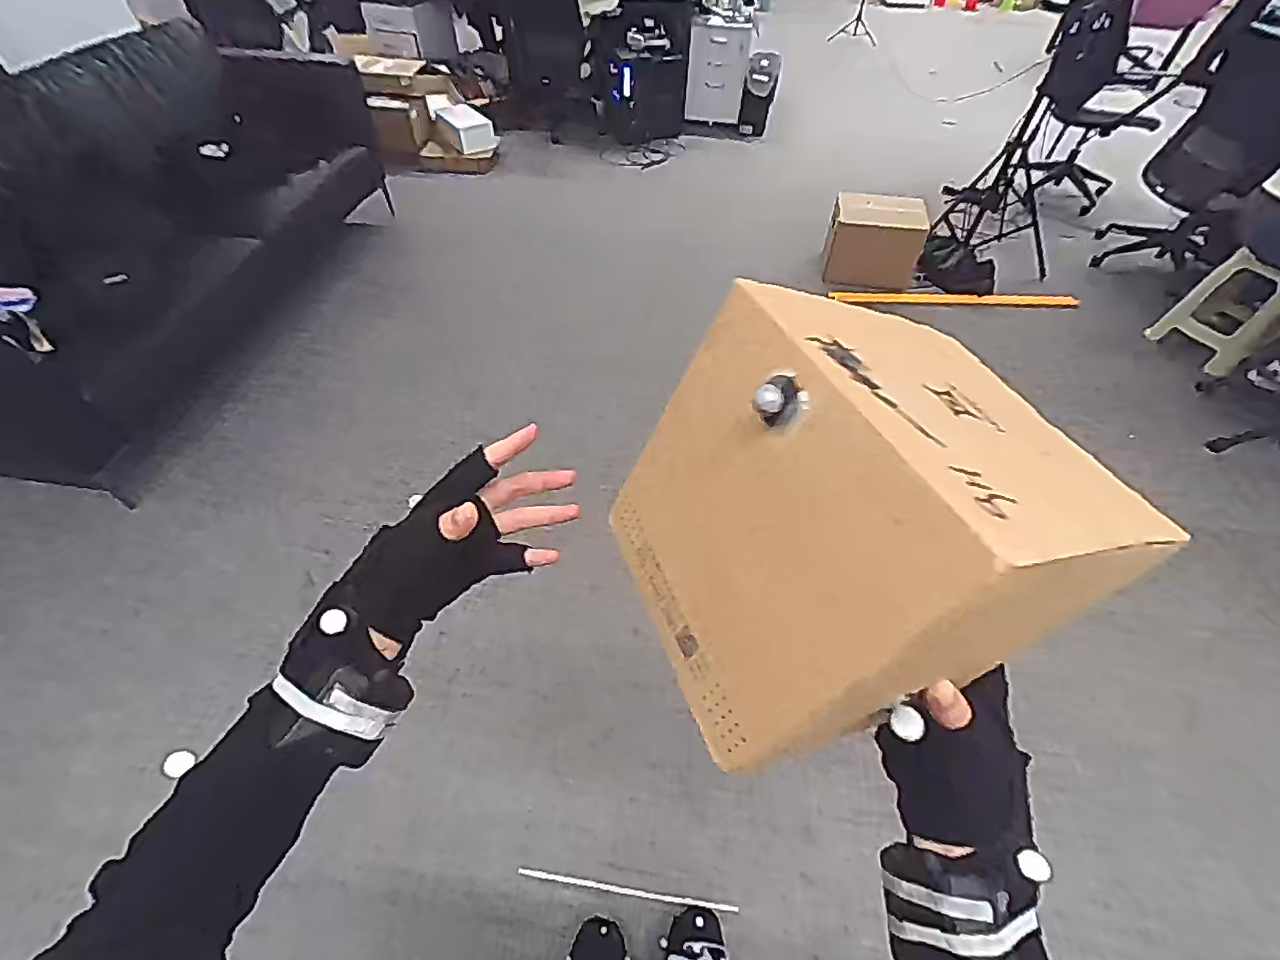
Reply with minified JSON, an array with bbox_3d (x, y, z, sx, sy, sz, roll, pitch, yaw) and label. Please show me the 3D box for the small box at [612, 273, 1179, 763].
[{"bbox_3d":[0.111,0.023,0.293,0.179,0.176,0.168,1,45,-33],"label":"small box"}]
